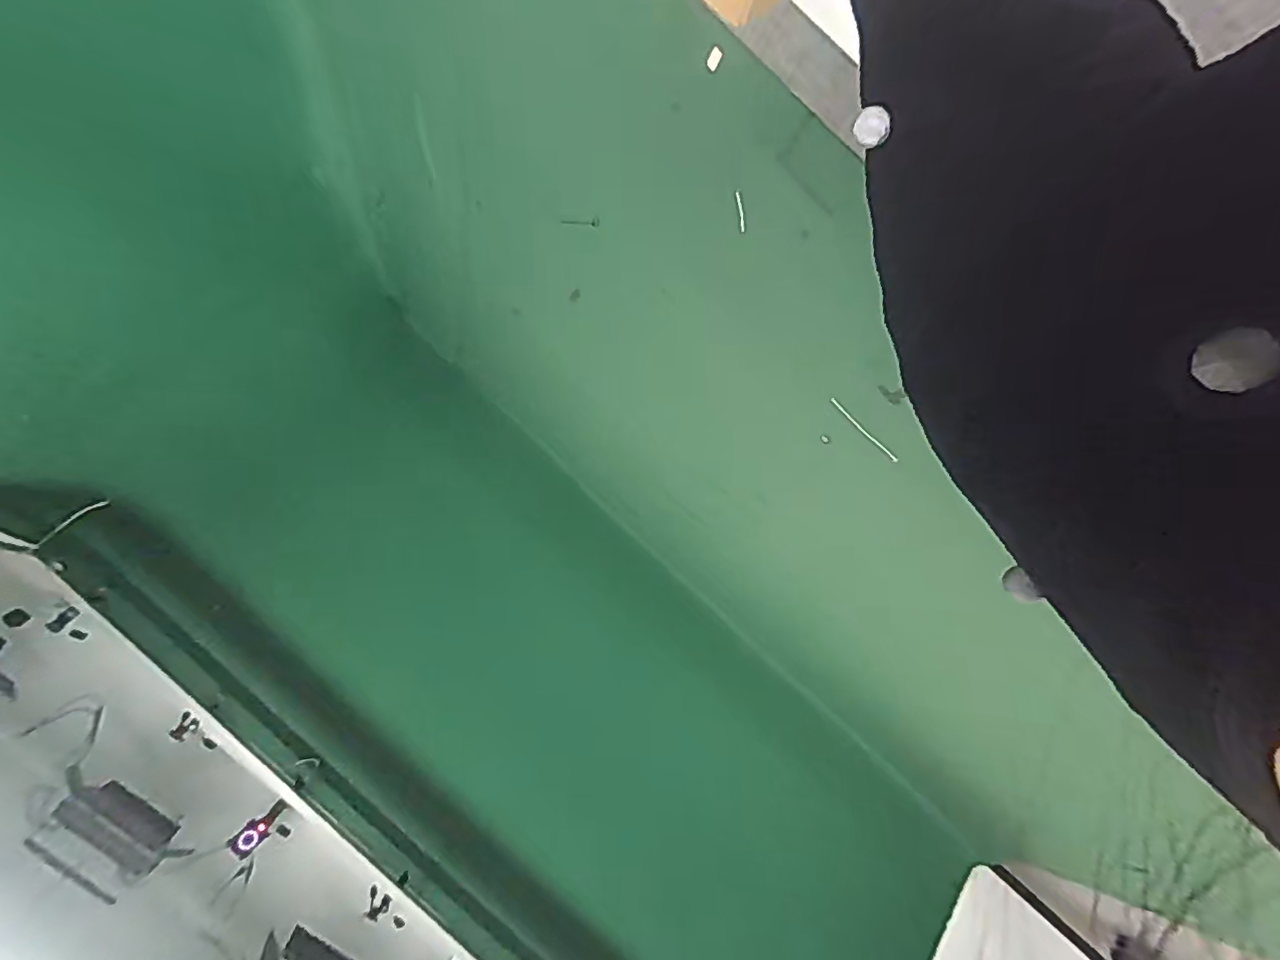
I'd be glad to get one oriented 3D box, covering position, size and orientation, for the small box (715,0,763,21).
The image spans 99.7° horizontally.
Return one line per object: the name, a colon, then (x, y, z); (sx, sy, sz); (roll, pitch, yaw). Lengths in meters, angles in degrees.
small box: (0.112, -0.578, 0.483); (0.179, 0.176, 0.168); (42, 156, -2)
